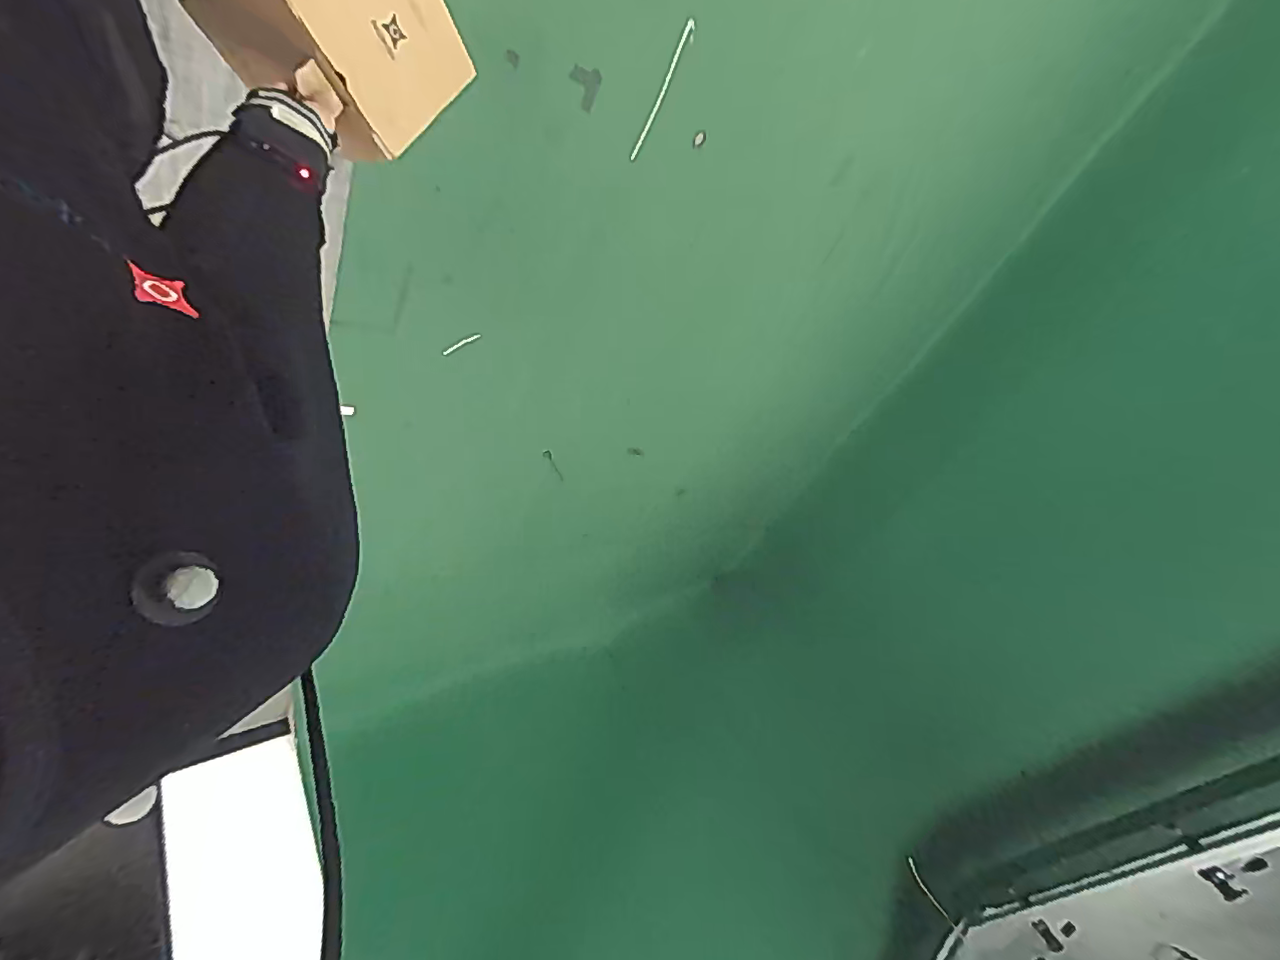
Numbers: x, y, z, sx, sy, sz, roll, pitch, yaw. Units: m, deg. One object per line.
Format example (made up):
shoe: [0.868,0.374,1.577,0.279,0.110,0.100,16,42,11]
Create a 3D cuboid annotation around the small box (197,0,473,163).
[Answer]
small box: [-0.326,-0.475,0.588,0.179,0.176,0.168,-64,154,-21]
